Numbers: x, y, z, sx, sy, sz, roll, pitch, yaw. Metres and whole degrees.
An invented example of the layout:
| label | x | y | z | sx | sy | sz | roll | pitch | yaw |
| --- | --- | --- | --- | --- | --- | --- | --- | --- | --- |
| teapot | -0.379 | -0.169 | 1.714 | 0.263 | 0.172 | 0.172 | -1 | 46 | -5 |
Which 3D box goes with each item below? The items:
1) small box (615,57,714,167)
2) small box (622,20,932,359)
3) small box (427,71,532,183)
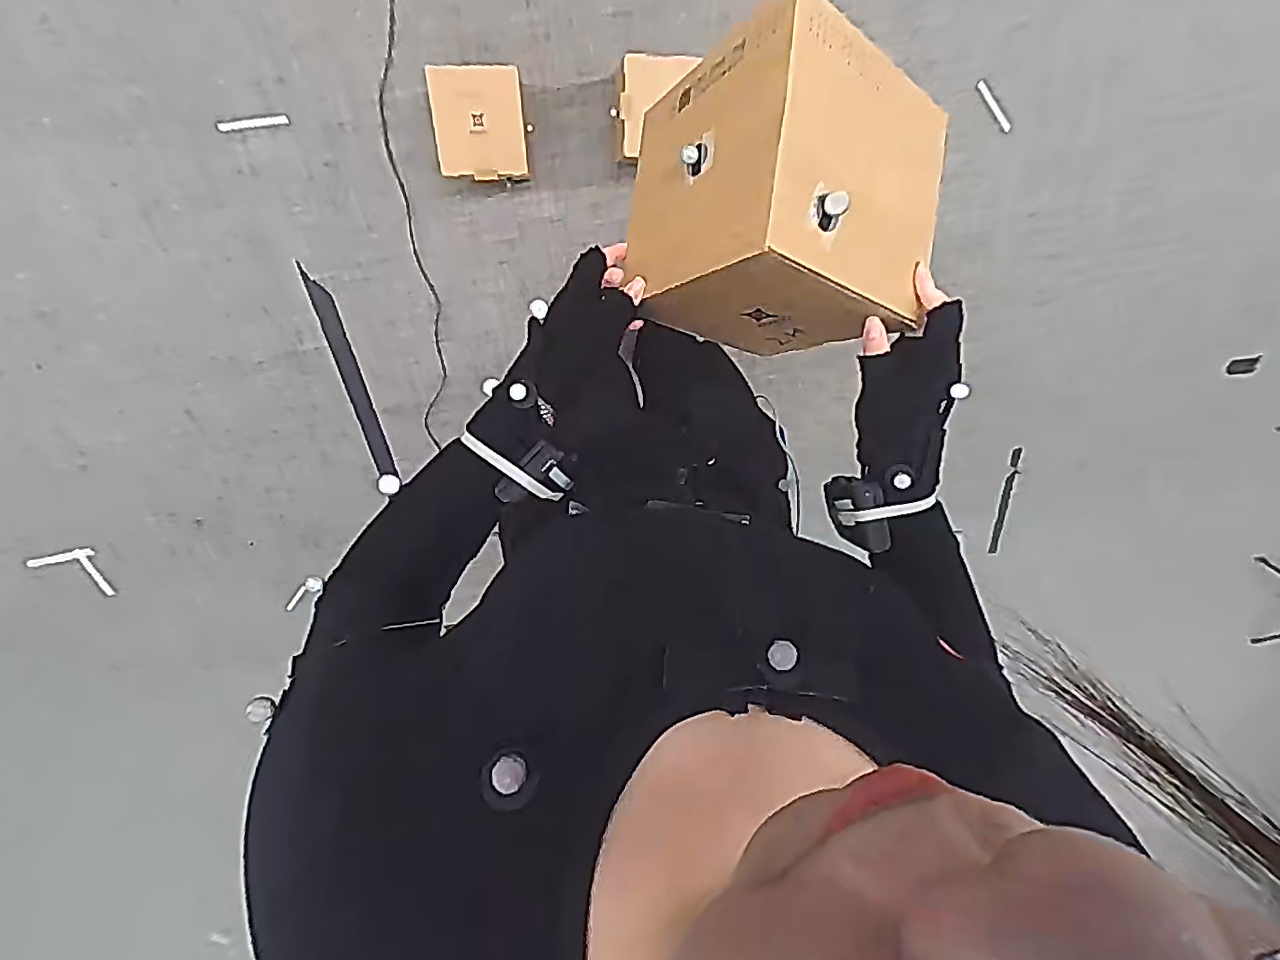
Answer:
| label | x | y | z | sx | sy | sz | roll | pitch | yaw |
| --- | --- | --- | --- | --- | --- | --- | --- | --- | --- |
| small box | 0.041 | -0.738 | 1.103 | 0.179 | 0.176 | 0.168 | -2 | 117 | -7 |
| small box | 0.108 | -0.210 | 0.437 | 0.179 | 0.168 | 0.176 | 7 | 89 | -34 |
| small box | -0.309 | -0.693 | 1.078 | 0.168 | 0.176 | 0.179 | -4 | 117 | -6 |
